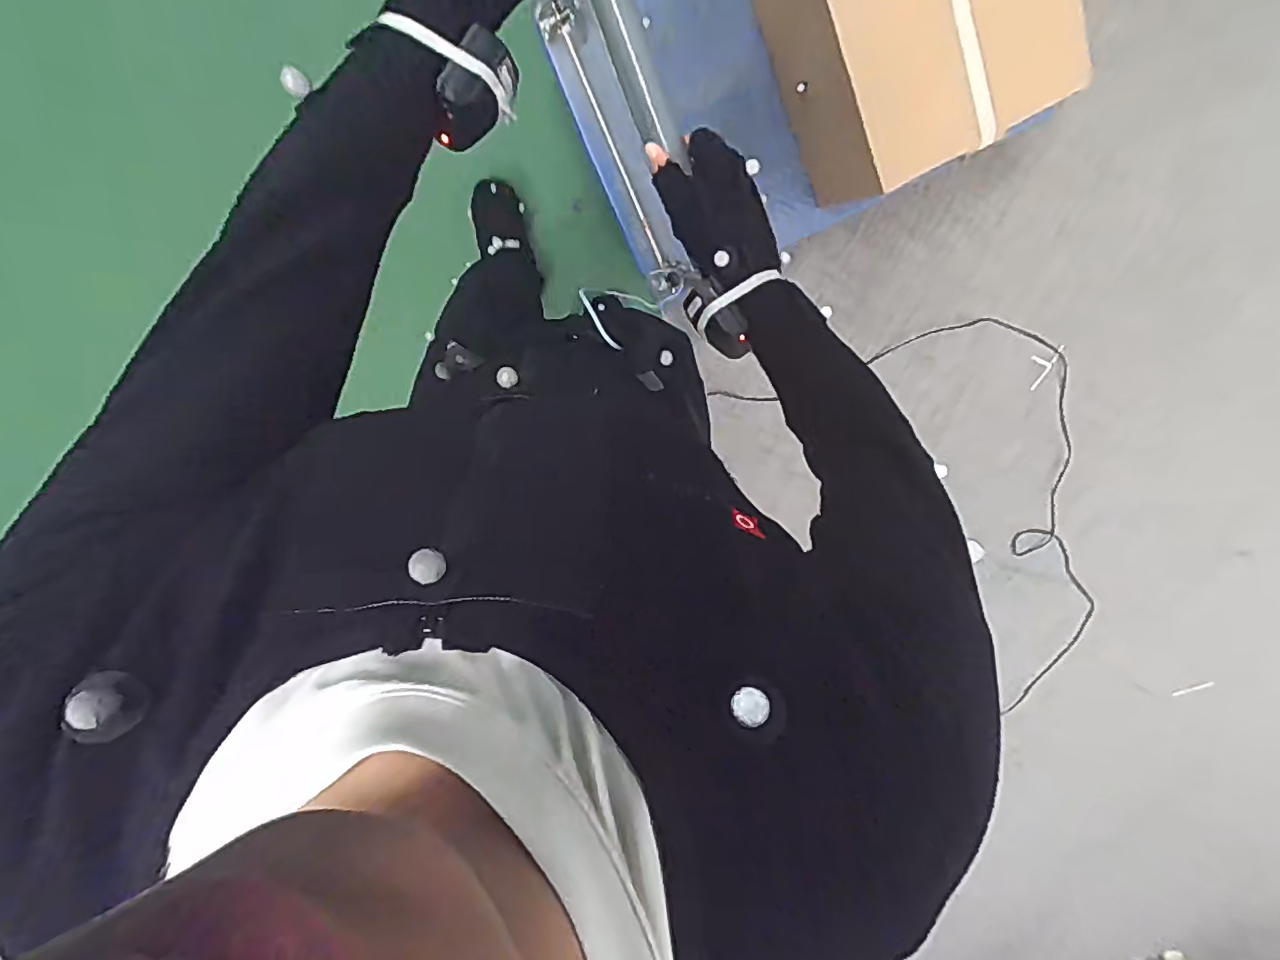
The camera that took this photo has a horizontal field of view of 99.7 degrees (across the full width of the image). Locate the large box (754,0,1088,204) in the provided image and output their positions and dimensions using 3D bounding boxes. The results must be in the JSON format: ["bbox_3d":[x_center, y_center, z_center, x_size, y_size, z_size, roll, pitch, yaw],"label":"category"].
[{"bbox_3d":[0.414,-0.723,0.864,0.320,0.320,0.408,-25,110,10],"label":"large box"}]
